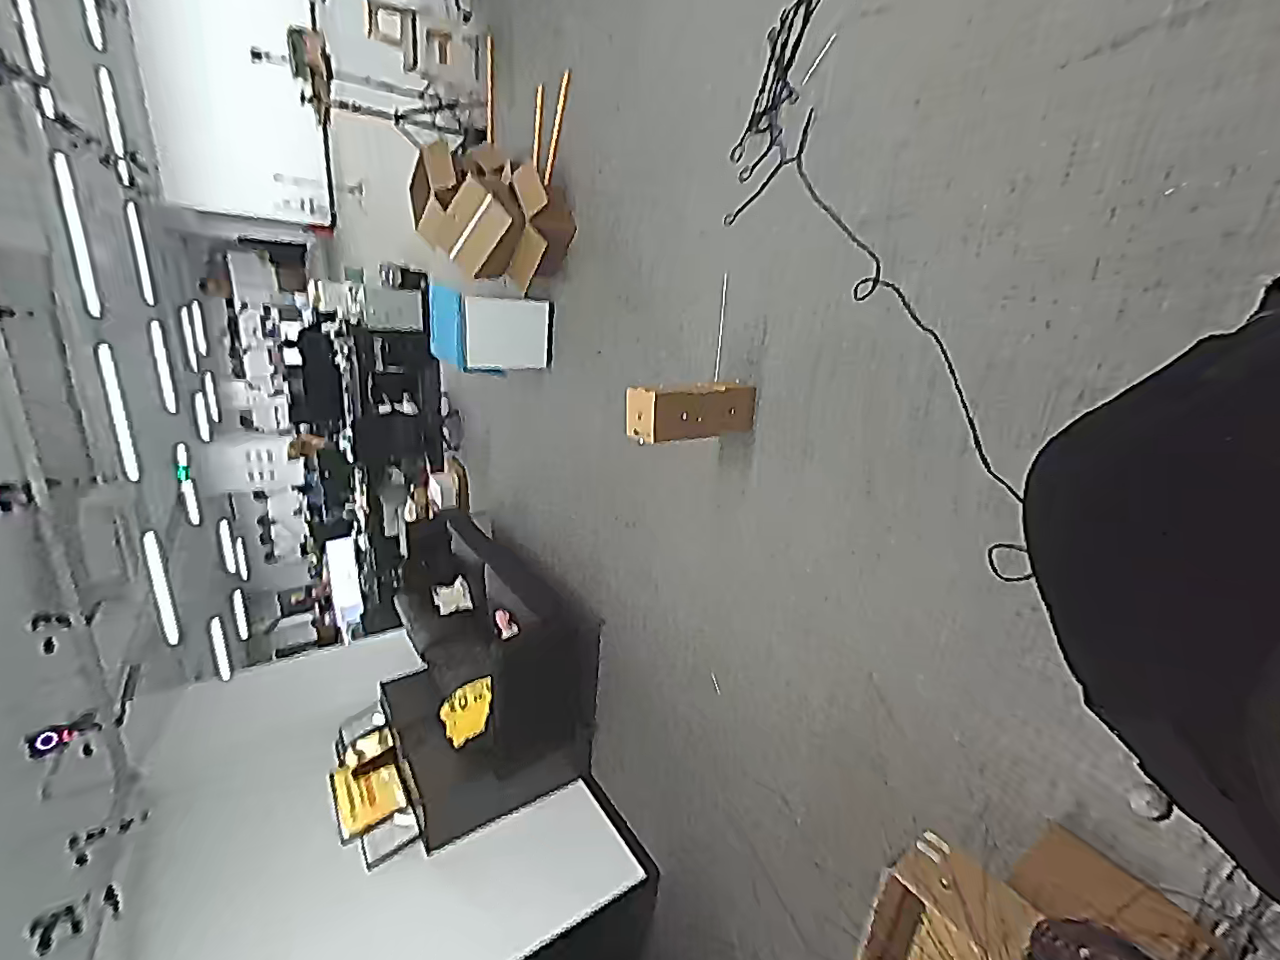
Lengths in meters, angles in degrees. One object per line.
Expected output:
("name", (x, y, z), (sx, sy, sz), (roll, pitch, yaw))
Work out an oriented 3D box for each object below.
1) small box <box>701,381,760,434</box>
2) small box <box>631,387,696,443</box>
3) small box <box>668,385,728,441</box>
("small box", (0.347, -0.287, 2.103), (0.168, 0.176, 0.179), (25, 118, 51))
("small box", (0.085, -0.235, 1.913), (0.168, 0.176, 0.179), (23, 116, 52))
("small box", (0.211, -0.256, 2.016), (0.168, 0.176, 0.179), (25, 118, 50))
